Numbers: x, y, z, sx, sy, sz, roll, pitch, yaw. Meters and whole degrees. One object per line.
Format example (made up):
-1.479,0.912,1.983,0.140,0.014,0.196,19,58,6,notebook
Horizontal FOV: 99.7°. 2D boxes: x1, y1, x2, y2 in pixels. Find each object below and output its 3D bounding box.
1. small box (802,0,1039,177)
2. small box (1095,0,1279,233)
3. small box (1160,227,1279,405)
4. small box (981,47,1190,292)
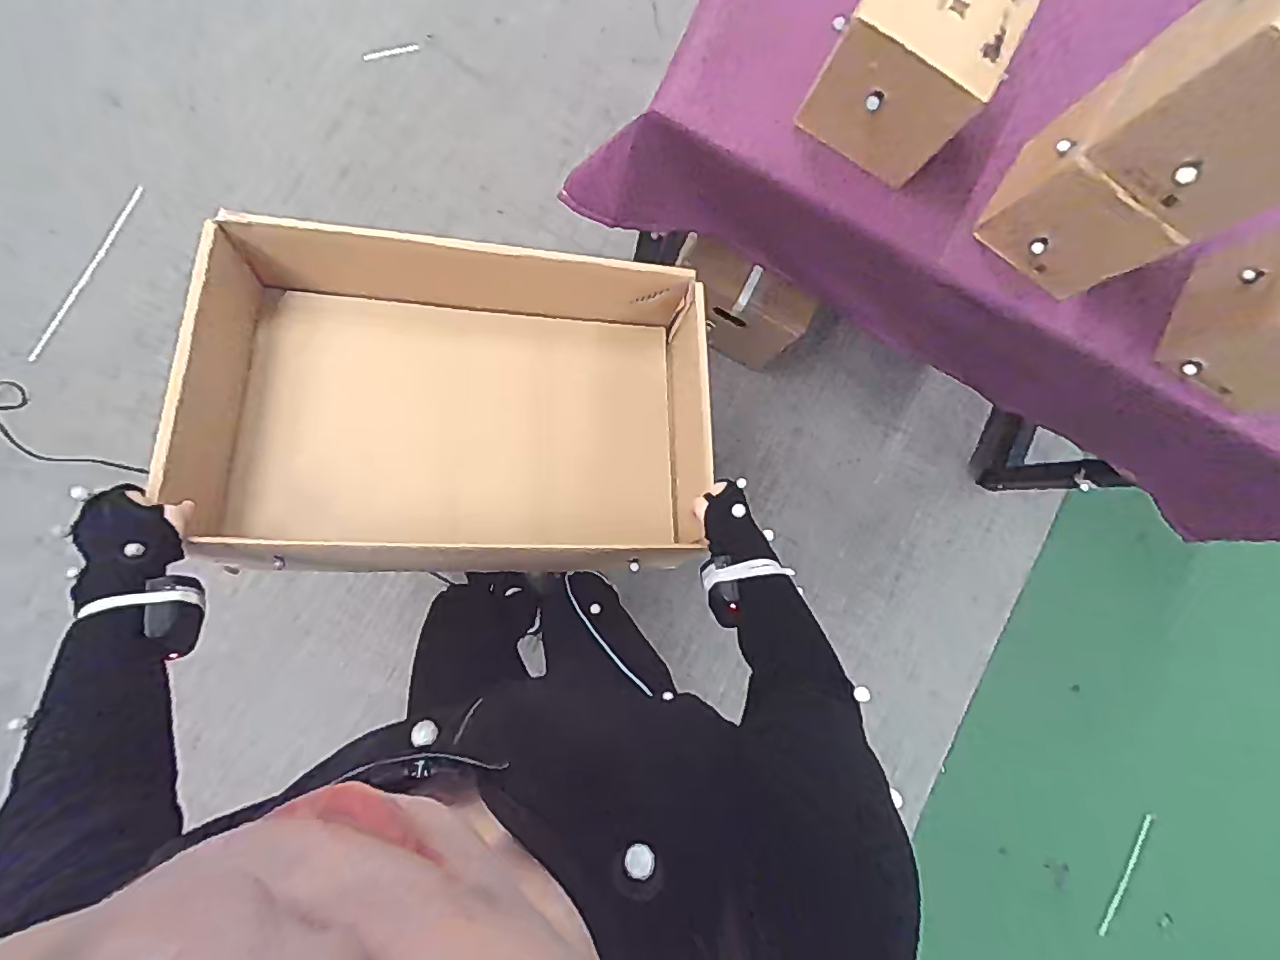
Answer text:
0.333,-0.523,0.671,0.179,0.176,0.168,29,85,-5,small box
0.620,-0.394,0.539,0.168,0.176,0.179,35,85,-4,small box
0.870,-0.220,0.728,0.168,0.176,0.179,29,84,-5,small box
0.595,-0.383,0.702,0.168,0.176,0.179,34,85,-5,small box
